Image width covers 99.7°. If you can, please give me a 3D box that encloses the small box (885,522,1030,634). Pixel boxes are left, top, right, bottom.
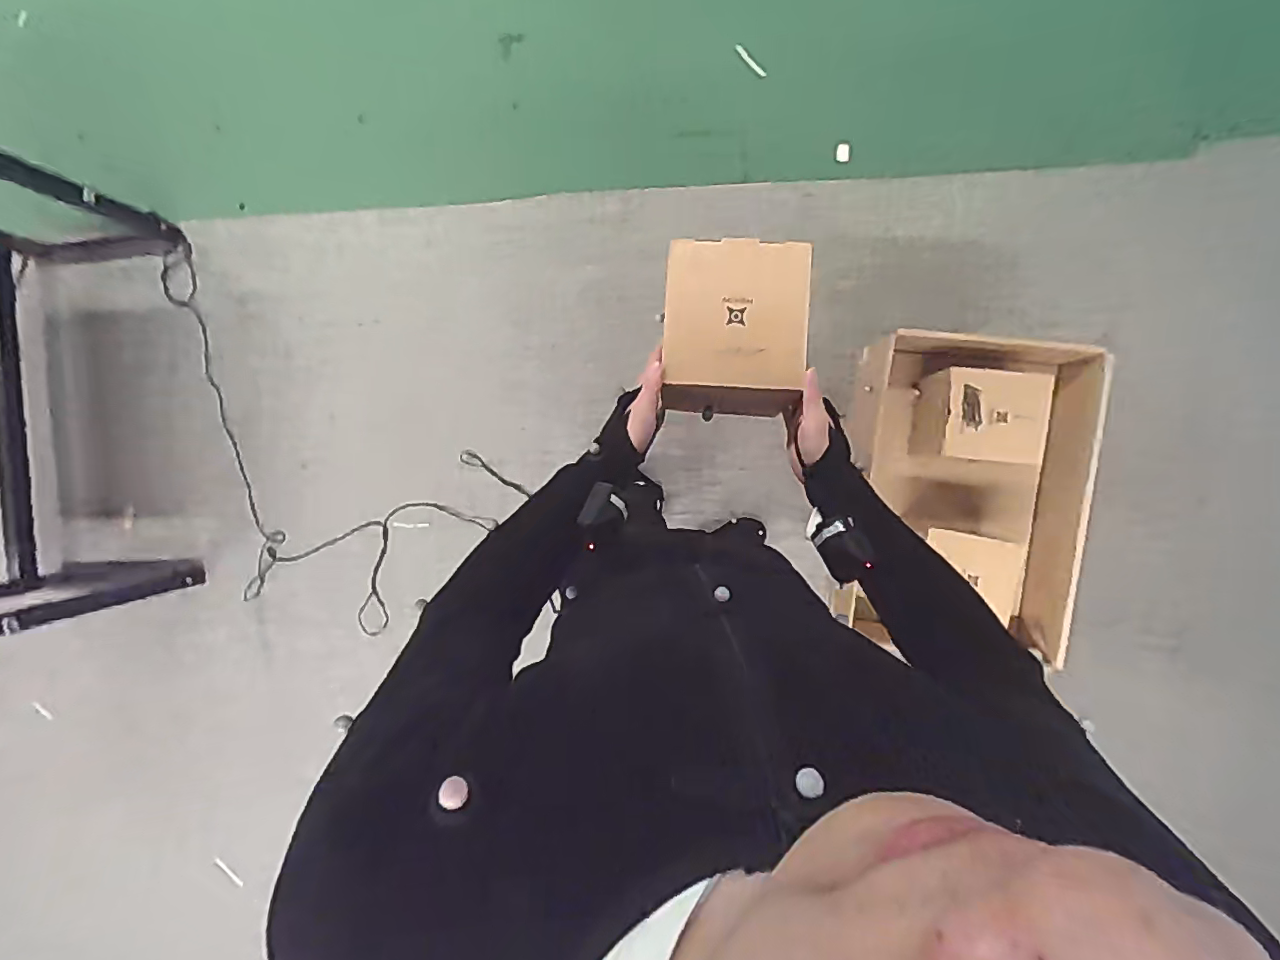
[{"bbox_3d":[0.616,0.183,1.070,0.179,0.176,0.168,11,93,6],"label":"small box"}]

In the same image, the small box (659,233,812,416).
[{"bbox_3d":[0.111,-0.186,0.688,0.168,0.176,0.179,3,87,3],"label":"small box"}]
